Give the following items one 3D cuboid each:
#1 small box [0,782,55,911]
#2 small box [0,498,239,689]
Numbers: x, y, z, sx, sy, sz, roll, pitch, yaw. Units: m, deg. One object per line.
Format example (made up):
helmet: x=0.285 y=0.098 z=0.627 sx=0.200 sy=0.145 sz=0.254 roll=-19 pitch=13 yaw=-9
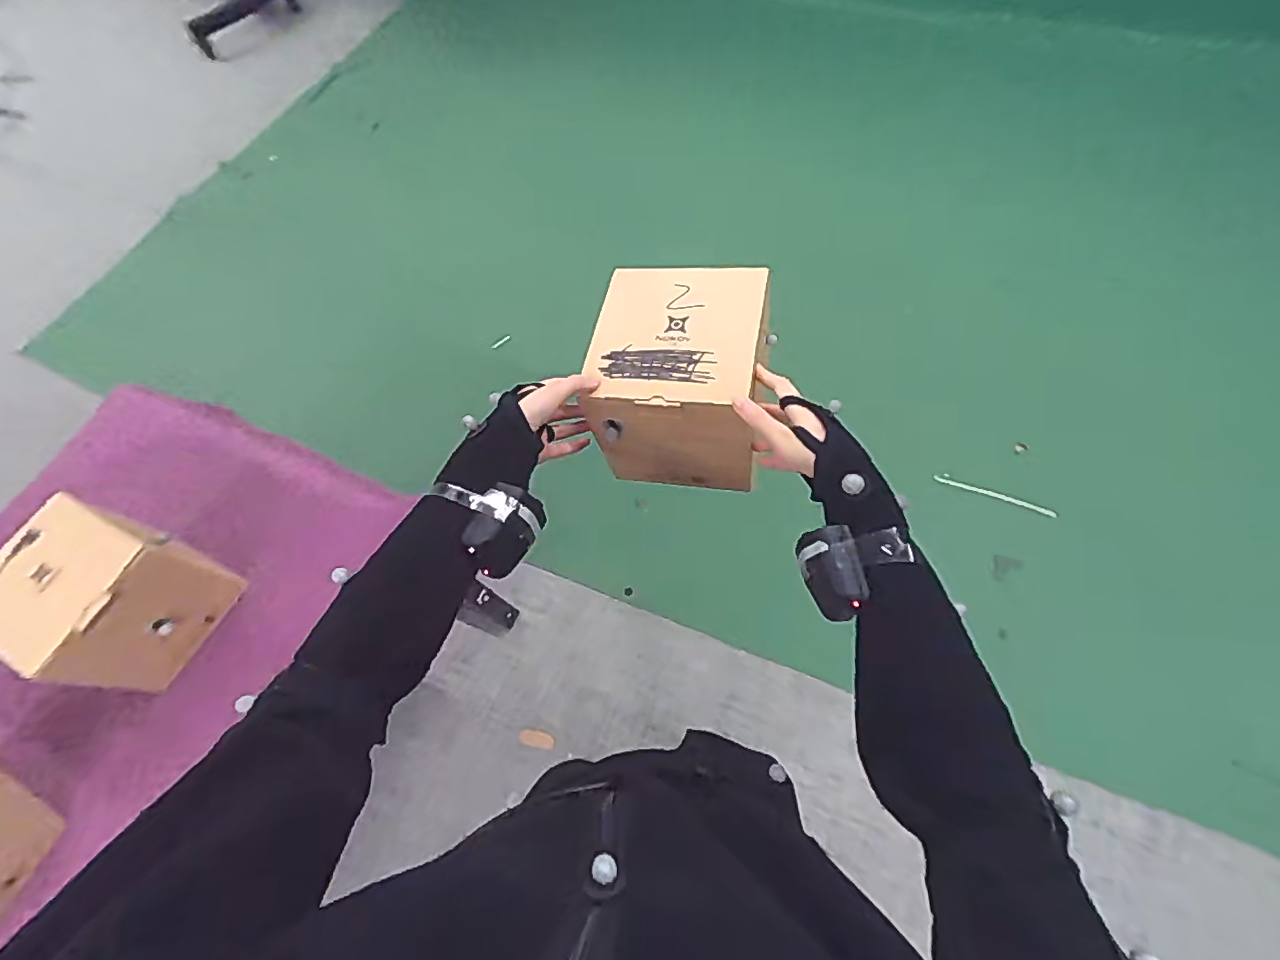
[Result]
small box: x=-0.816 y=0.424 z=0.573 sx=0.179 sy=0.176 sz=0.168 roll=21 pitch=68 yaw=14
small box: x=-0.681 y=0.153 z=0.696 sx=0.179 sy=0.176 sz=0.168 roll=23 pitch=68 yaw=15
